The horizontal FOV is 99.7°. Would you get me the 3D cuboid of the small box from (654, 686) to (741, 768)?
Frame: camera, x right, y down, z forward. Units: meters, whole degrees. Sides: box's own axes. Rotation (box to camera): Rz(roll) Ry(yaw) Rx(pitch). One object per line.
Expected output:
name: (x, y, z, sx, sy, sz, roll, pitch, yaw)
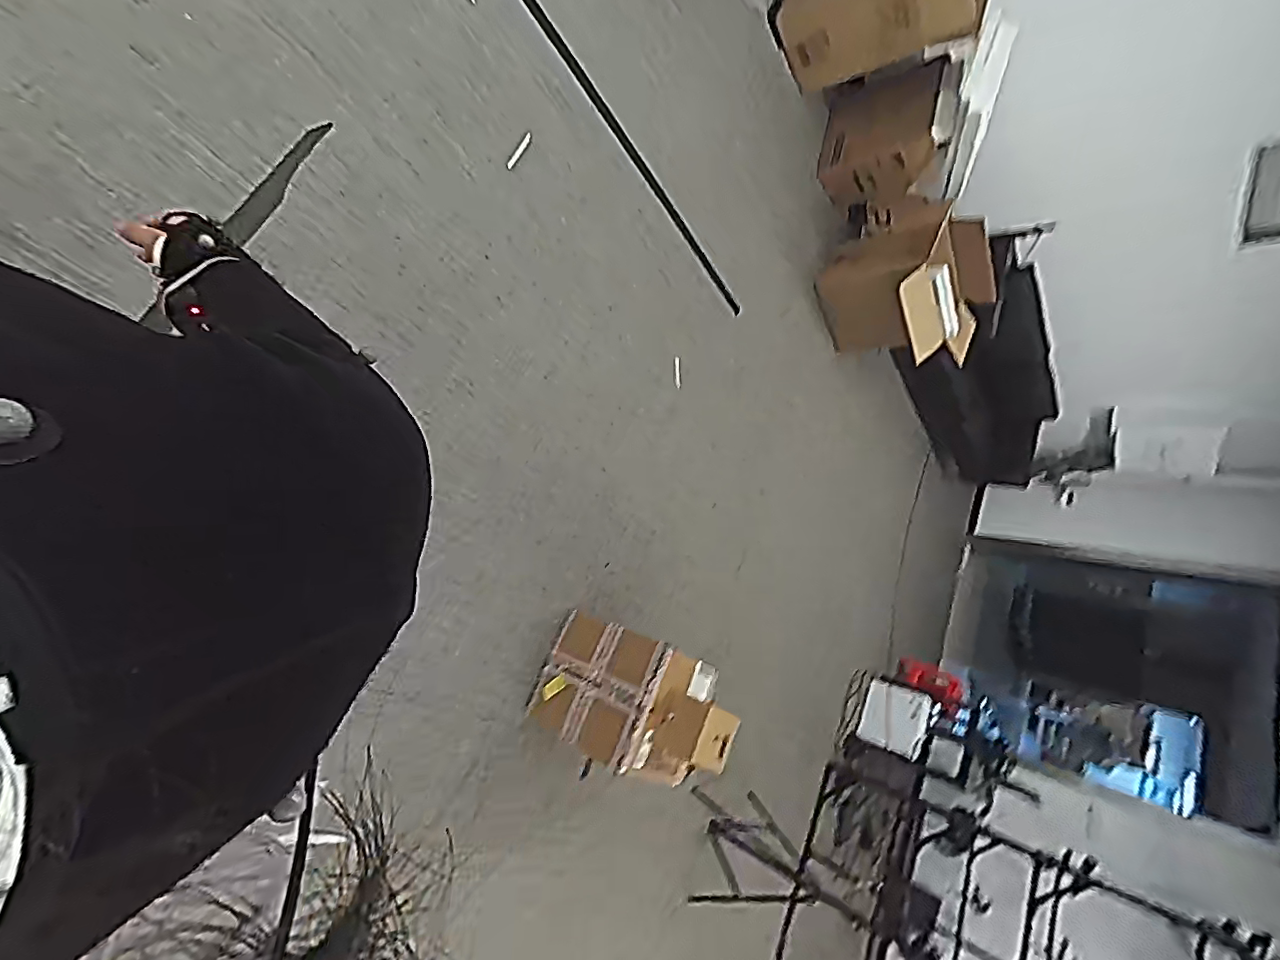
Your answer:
small box: (0.175, 0.753, 1.659, 0.179, 0.176, 0.168, 40, 65, -37)
